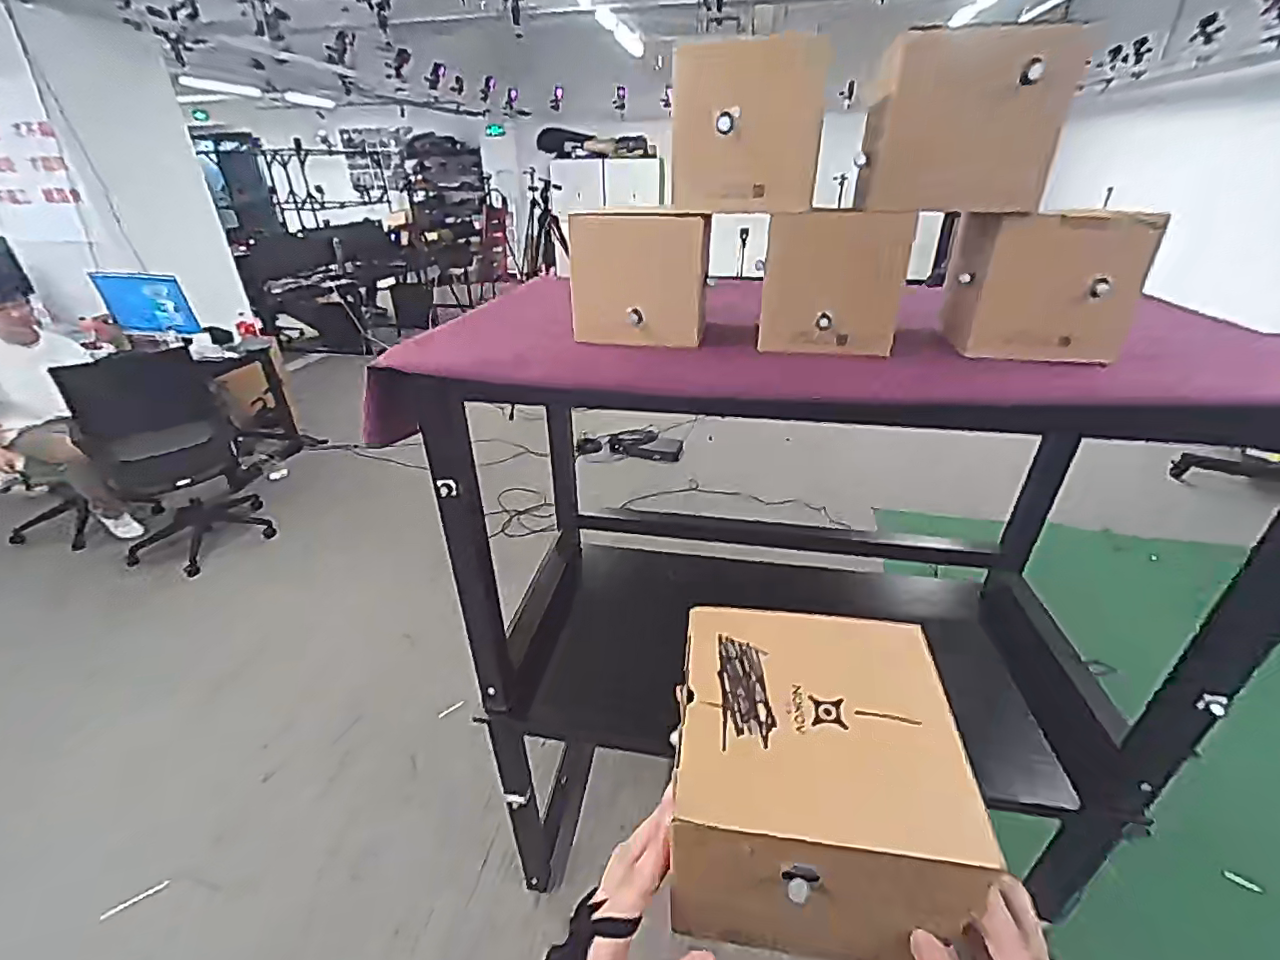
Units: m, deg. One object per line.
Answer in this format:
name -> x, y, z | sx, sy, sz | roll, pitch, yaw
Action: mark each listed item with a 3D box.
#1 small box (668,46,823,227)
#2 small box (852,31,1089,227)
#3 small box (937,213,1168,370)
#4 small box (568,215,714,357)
small box -> 0.132, -0.413, 0.678 | 0.168, 0.176, 0.179 | 4, 29, 12
small box -> 0.364, -0.398, 0.636 | 0.179, 0.176, 0.168 | 5, 28, 11
small box -> 0.504, -0.245, 0.696 | 0.168, 0.176, 0.179 | 6, 28, 13
small box -> 0.008, -0.281, 0.779 | 0.179, 0.176, 0.168 | 5, 29, 10
